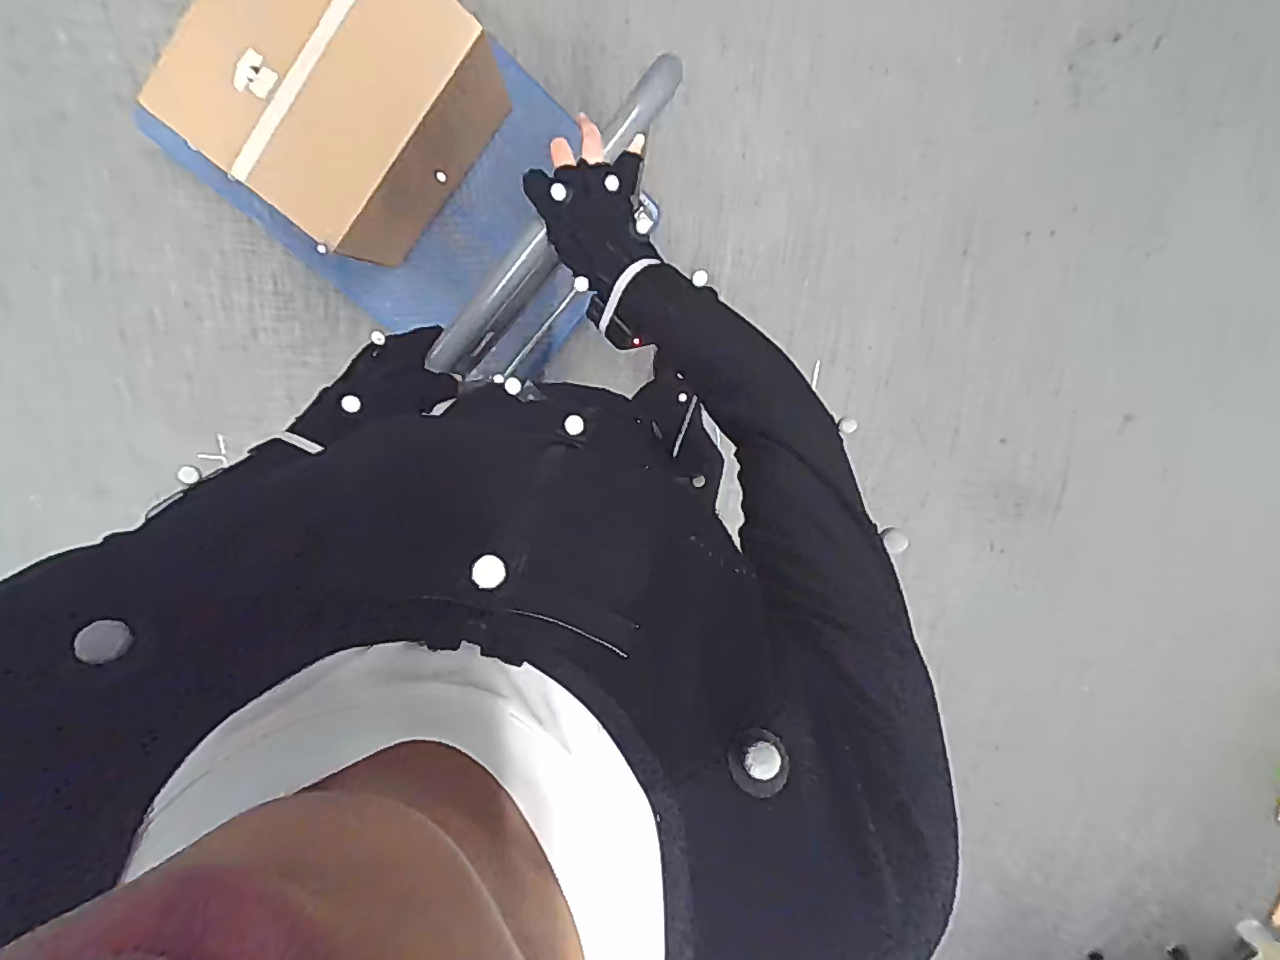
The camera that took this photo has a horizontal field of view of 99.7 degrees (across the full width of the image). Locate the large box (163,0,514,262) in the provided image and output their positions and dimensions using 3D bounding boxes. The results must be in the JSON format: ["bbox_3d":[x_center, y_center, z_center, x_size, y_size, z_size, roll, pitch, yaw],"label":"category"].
[{"bbox_3d":[-0.469,-0.650,0.929,0.320,0.320,0.408,38,101,-14],"label":"large box"}]
